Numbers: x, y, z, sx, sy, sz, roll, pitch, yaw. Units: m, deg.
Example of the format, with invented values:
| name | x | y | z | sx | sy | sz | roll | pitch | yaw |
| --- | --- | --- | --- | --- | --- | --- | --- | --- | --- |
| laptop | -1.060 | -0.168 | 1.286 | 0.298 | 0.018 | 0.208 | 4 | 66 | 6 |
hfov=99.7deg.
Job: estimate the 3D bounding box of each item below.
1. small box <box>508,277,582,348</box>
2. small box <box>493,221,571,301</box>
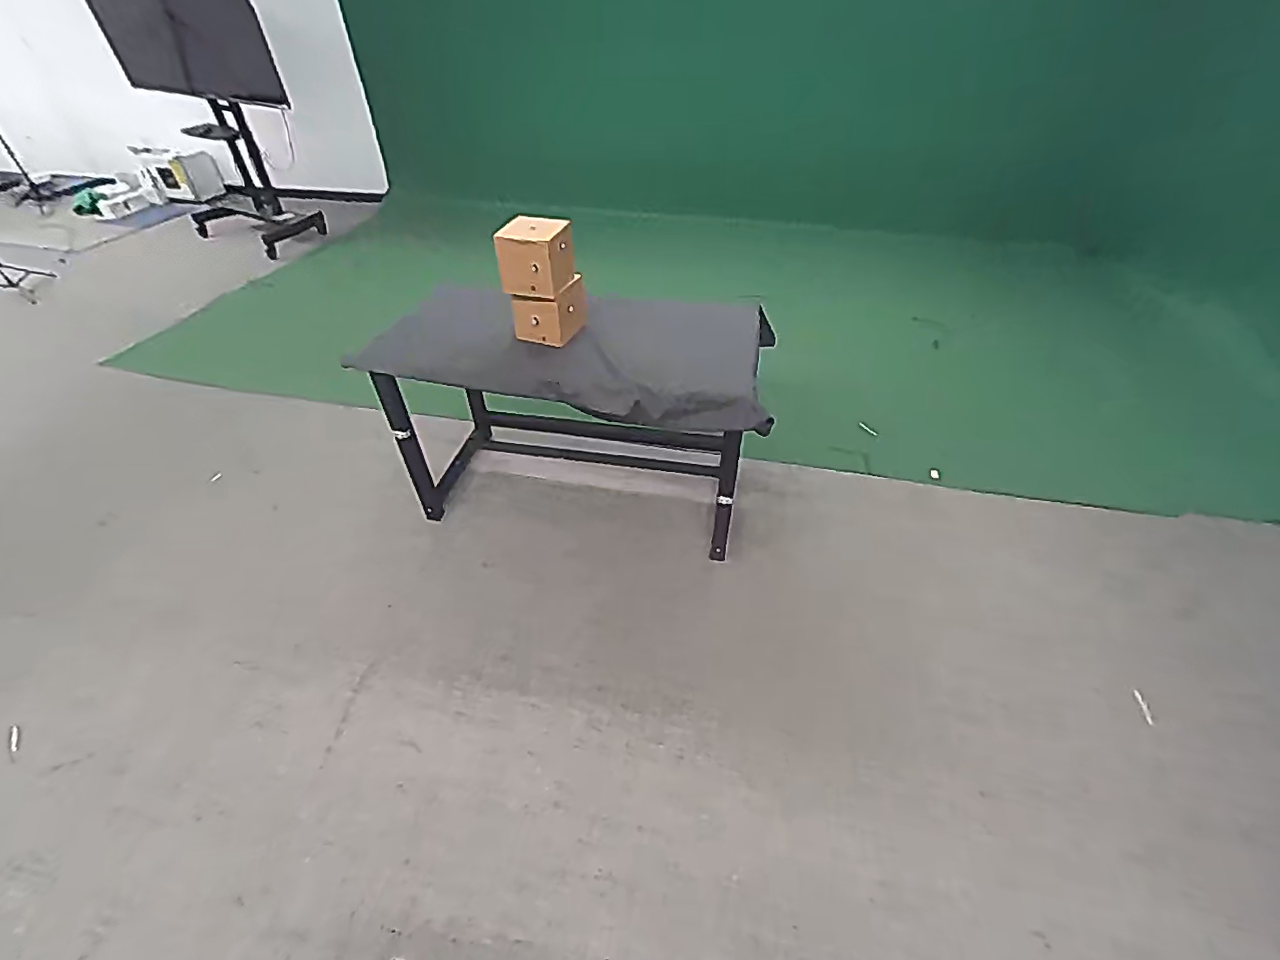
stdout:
| name | x | y | z | sx | sy | sz | roll | pitch | yaw |
| --- | --- | --- | --- | --- | --- | --- | --- | --- | --- |
| small box | -0.292 | -0.541 | 1.725 | 0.168 | 0.176 | 0.179 | 15 | 45 | 15 |
| small box | -0.309 | -0.648 | 1.600 | 0.168 | 0.176 | 0.179 | 11 | 43 | 11 |
